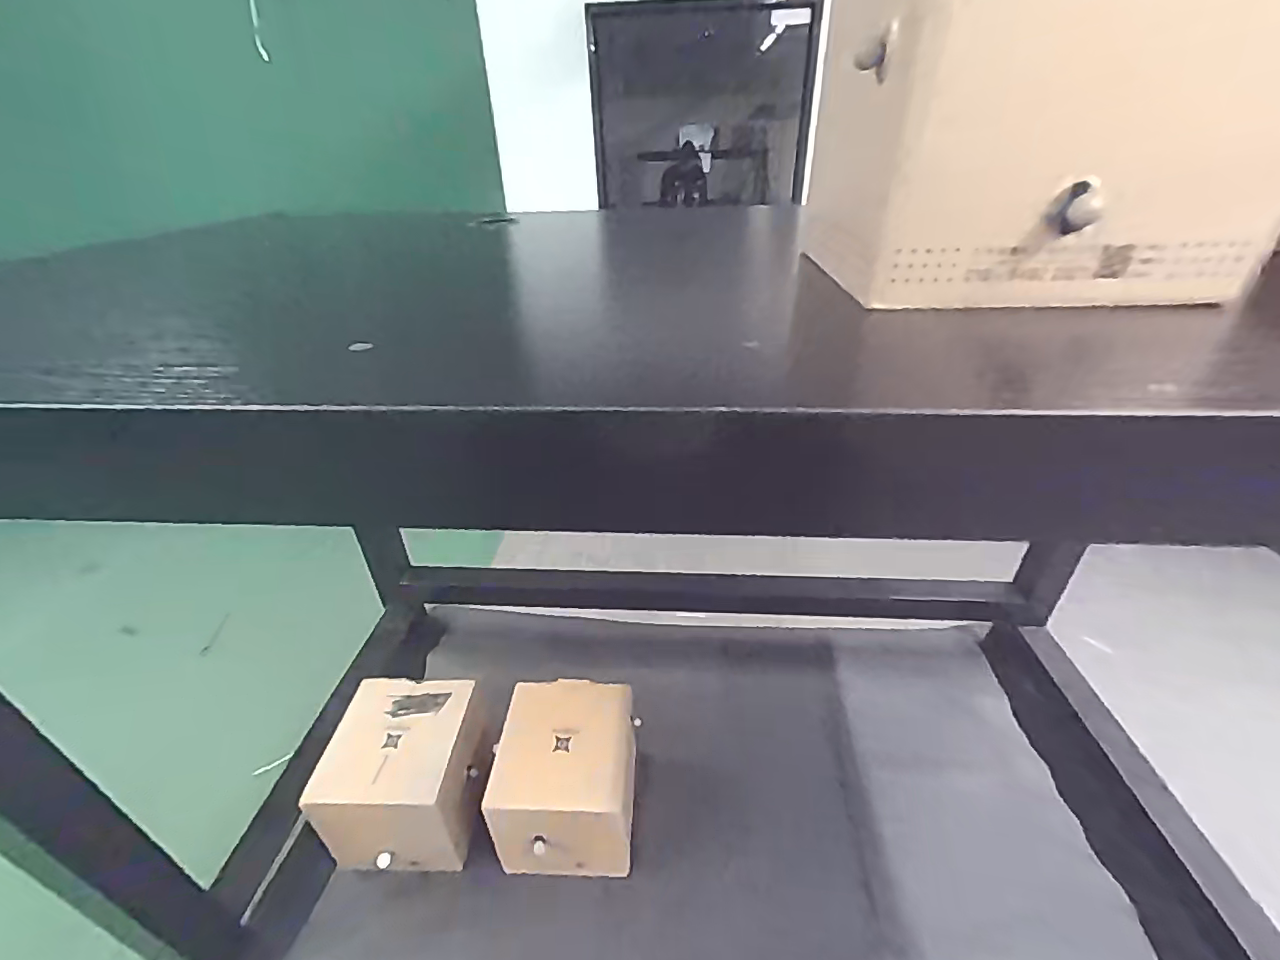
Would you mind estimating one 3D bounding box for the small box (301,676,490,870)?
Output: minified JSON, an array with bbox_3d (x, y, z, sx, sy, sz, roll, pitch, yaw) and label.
[{"bbox_3d":[-0.315,0.397,0.744,0.168,0.176,0.179,-1,32,3],"label":"small box"}]
